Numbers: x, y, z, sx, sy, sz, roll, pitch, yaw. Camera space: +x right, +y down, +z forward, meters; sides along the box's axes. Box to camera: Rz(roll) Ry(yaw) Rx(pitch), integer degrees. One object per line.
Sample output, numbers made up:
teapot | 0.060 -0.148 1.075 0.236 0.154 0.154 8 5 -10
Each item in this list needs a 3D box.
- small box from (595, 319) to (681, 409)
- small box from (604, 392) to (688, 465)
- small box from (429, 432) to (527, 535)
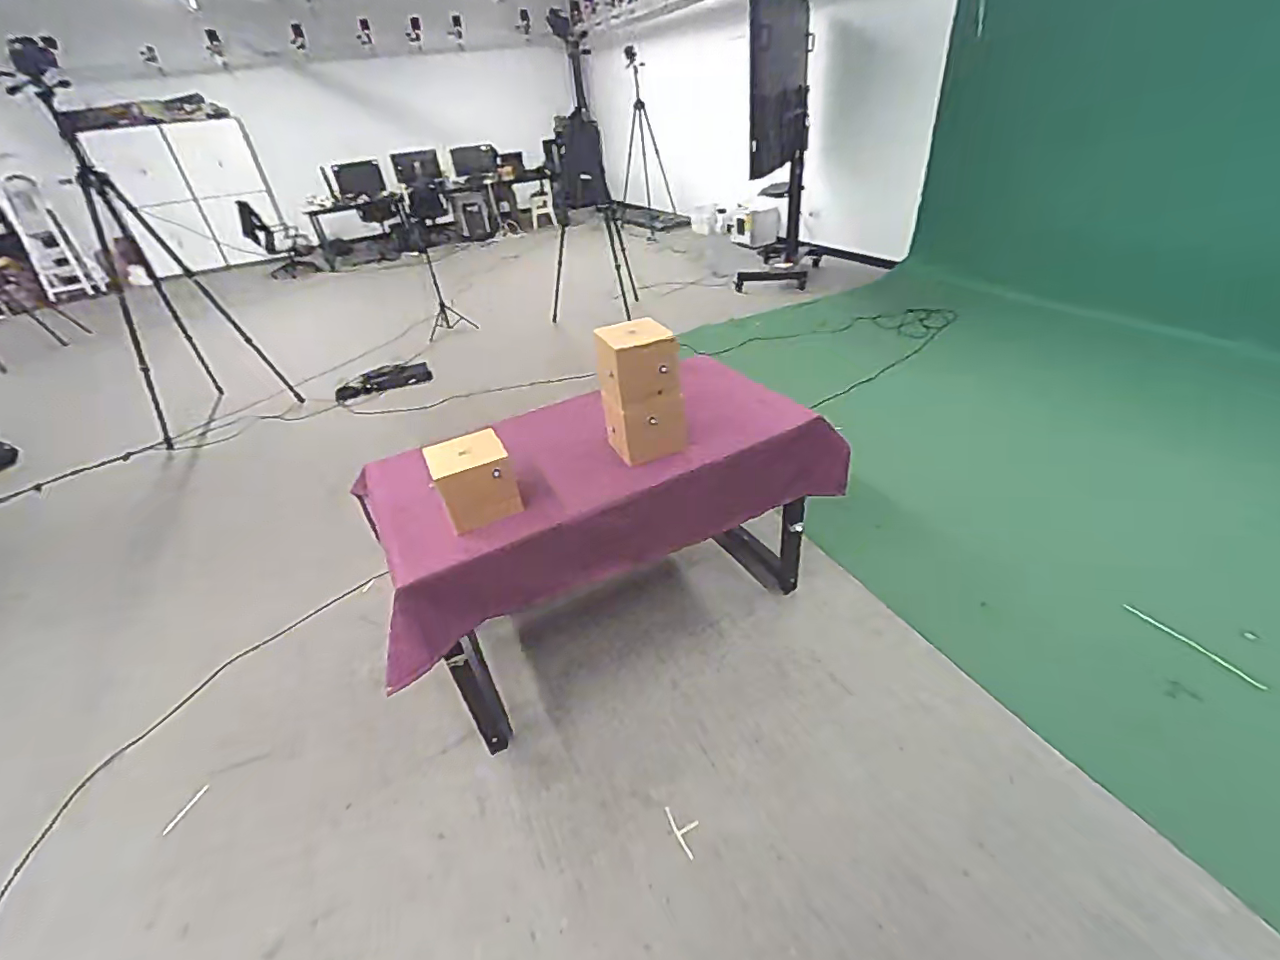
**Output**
small box | -0.003 -0.300 1.407 0.168 0.176 0.179 -18 35 -15
small box | 0.019 -0.163 1.493 0.179 0.176 0.168 -19 37 -15
small box | -0.397 0.010 1.336 0.179 0.176 0.168 -21 37 -19
